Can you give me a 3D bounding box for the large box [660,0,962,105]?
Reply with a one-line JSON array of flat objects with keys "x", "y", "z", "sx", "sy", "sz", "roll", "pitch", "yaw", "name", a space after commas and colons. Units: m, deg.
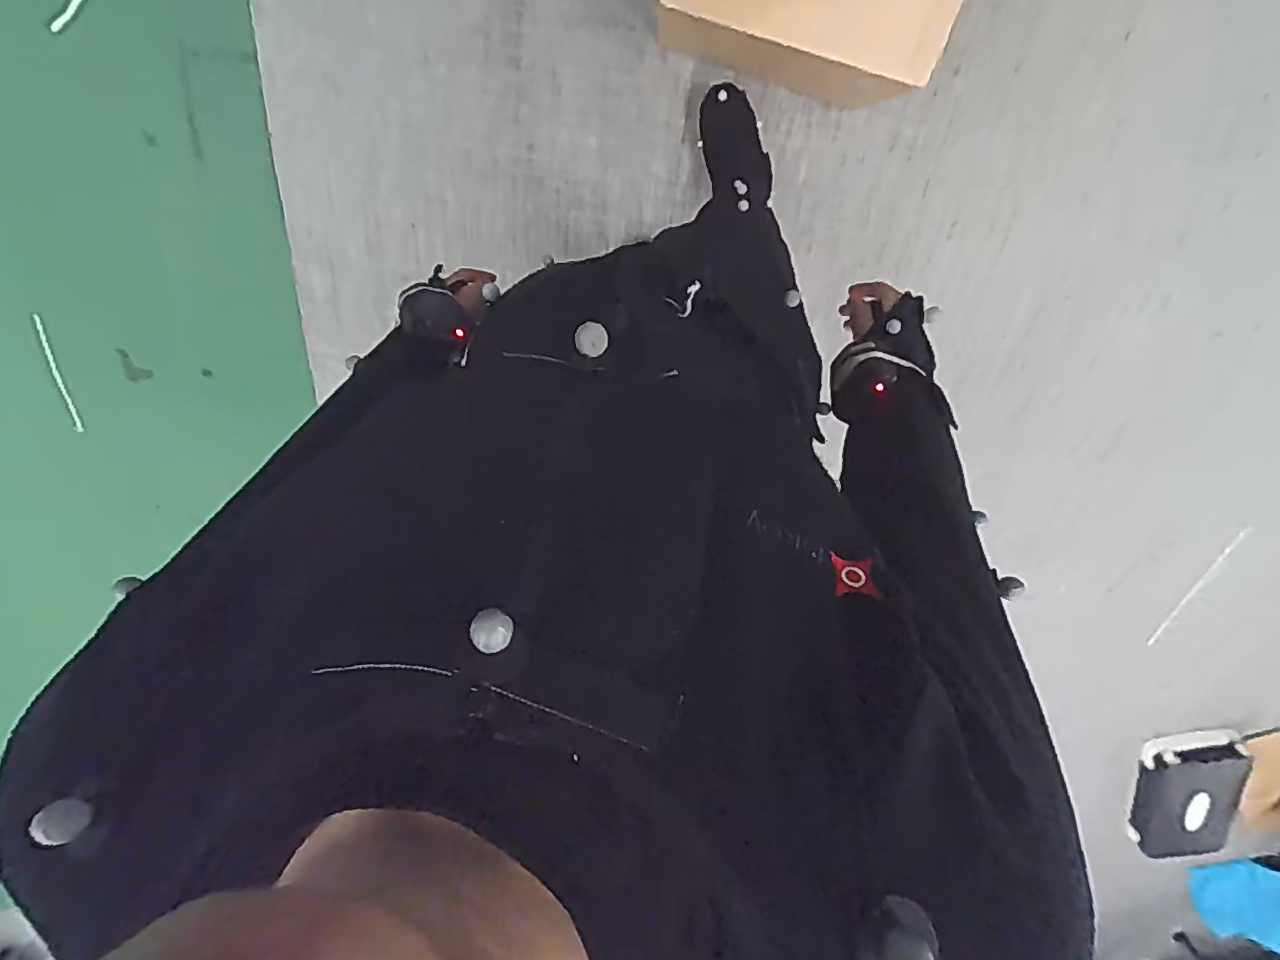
[{"x": 0.260, "y": -0.813, "z": 0.820, "sx": 0.408, "sy": 0.320, "sz": 0.320, "roll": 12, "pitch": 120, "yaw": -6, "name": "large box"}]
